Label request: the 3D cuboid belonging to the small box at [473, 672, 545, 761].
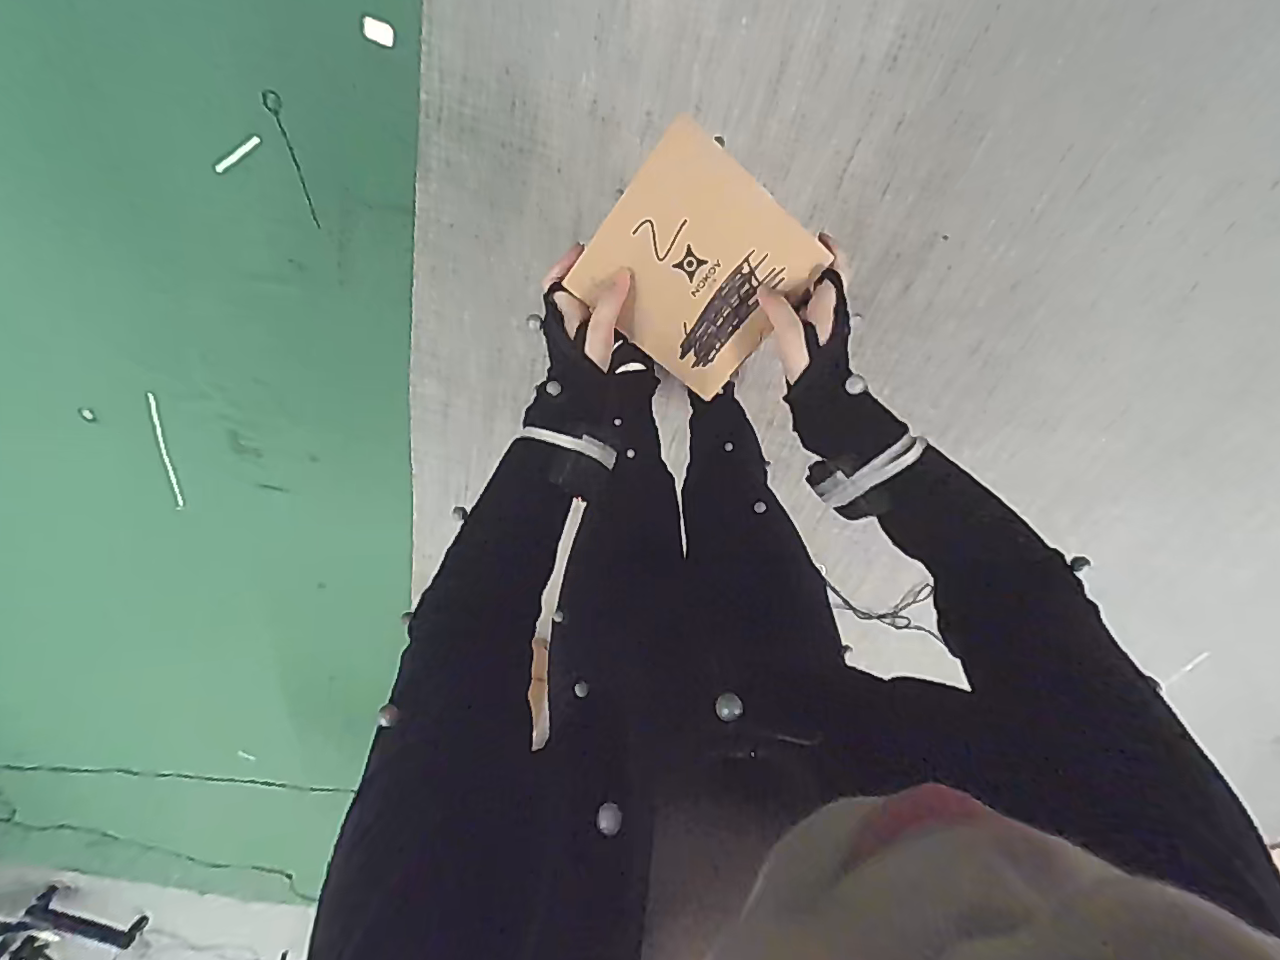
[{"bbox_3d":[-0.394,0.717,1.649,0.168,0.176,0.179,17,122,-8],"label":"small box"}]
